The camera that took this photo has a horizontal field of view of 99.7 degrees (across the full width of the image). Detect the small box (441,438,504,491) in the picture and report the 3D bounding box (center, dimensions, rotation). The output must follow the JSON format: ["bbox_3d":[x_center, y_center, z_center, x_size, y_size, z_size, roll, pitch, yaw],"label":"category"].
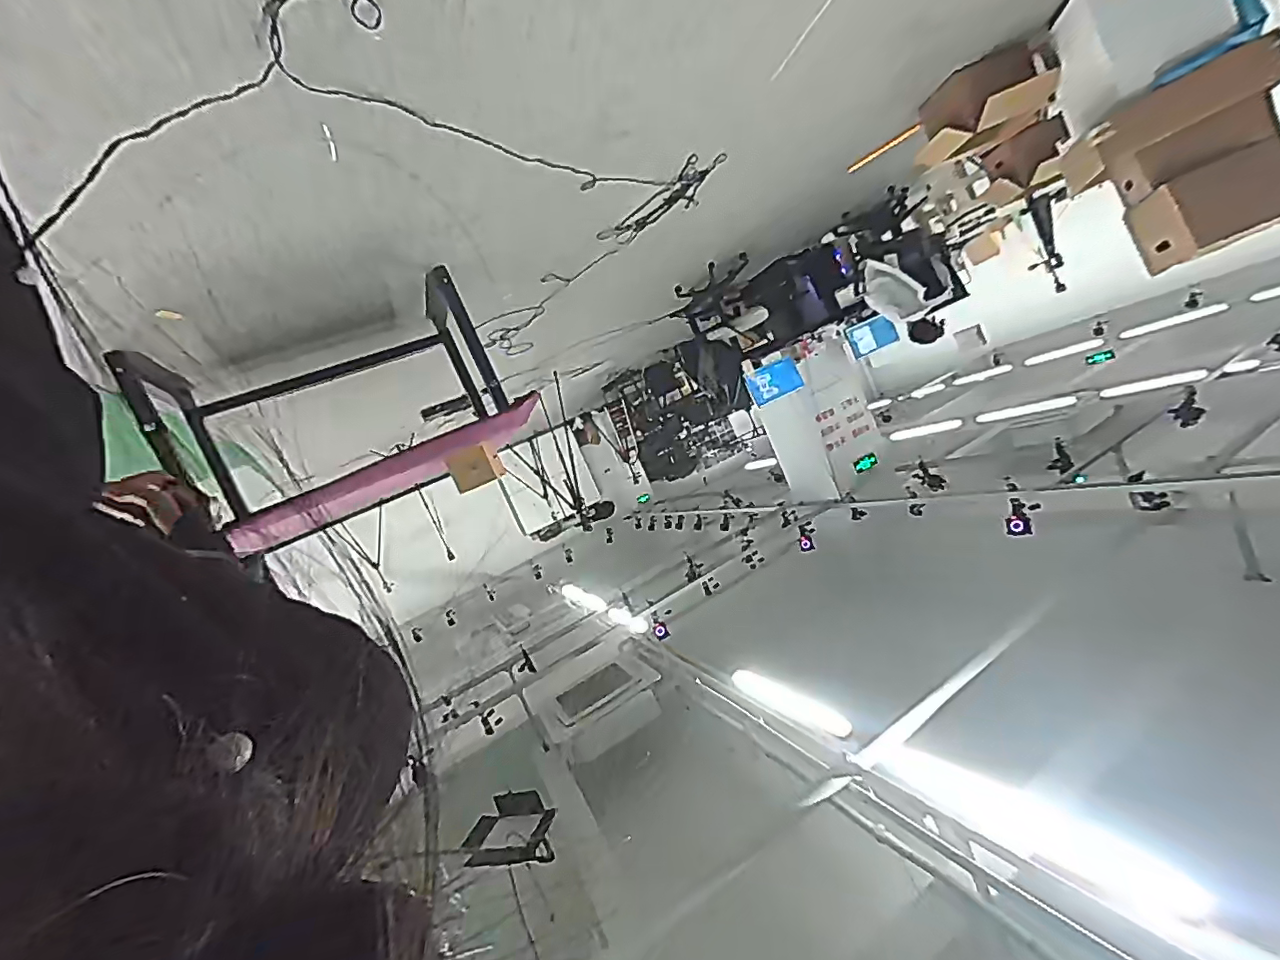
[{"bbox_3d":[-0.707,-0.070,2.288,0.179,0.176,0.168,-24,-175,2],"label":"small box"}]
